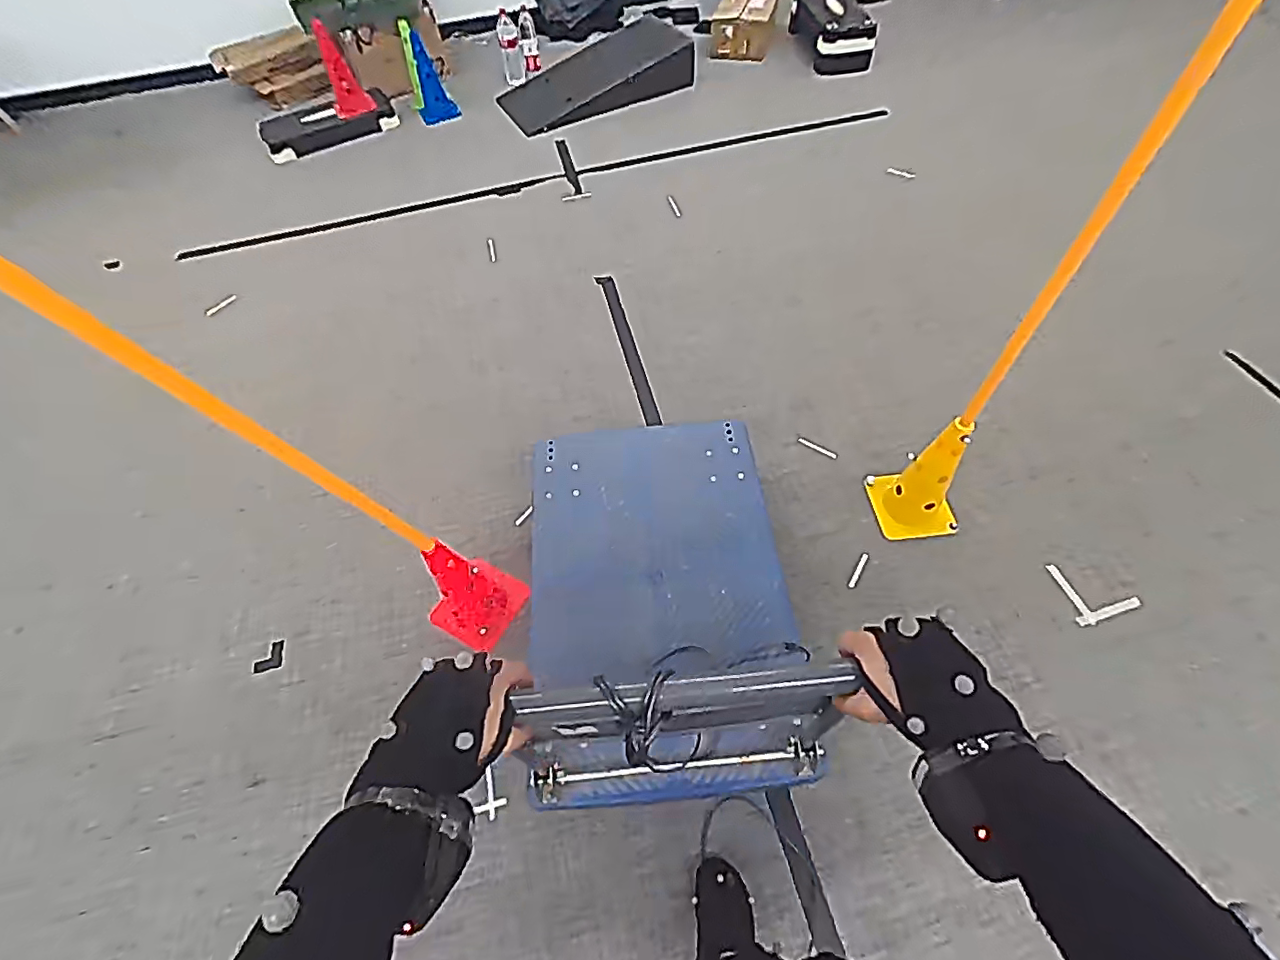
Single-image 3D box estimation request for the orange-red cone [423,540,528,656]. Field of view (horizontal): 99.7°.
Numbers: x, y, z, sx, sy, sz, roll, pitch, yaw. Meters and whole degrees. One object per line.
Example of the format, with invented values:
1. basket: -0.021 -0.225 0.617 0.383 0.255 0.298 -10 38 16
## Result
1. orange-red cone: -0.421 0.234 1.254 0.198 0.360 0.199 26 61 18
